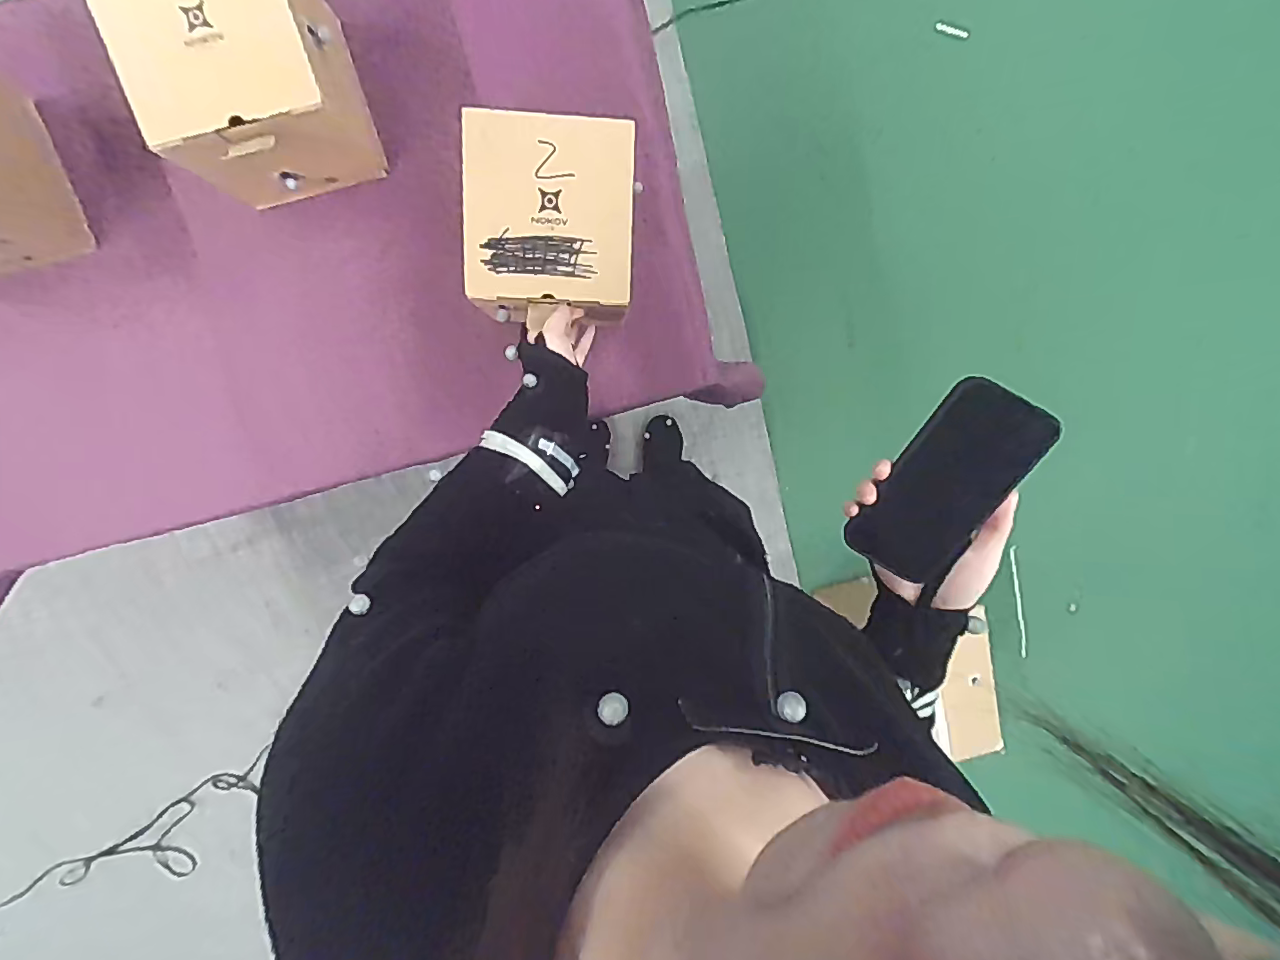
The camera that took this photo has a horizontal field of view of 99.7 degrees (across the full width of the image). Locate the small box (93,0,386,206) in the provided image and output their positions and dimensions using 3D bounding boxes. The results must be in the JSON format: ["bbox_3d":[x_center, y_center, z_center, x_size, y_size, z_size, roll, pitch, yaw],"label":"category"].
[{"bbox_3d":[-0.398,-0.419,0.562,0.168,0.176,0.179,-17,101,-2],"label":"small box"}]
